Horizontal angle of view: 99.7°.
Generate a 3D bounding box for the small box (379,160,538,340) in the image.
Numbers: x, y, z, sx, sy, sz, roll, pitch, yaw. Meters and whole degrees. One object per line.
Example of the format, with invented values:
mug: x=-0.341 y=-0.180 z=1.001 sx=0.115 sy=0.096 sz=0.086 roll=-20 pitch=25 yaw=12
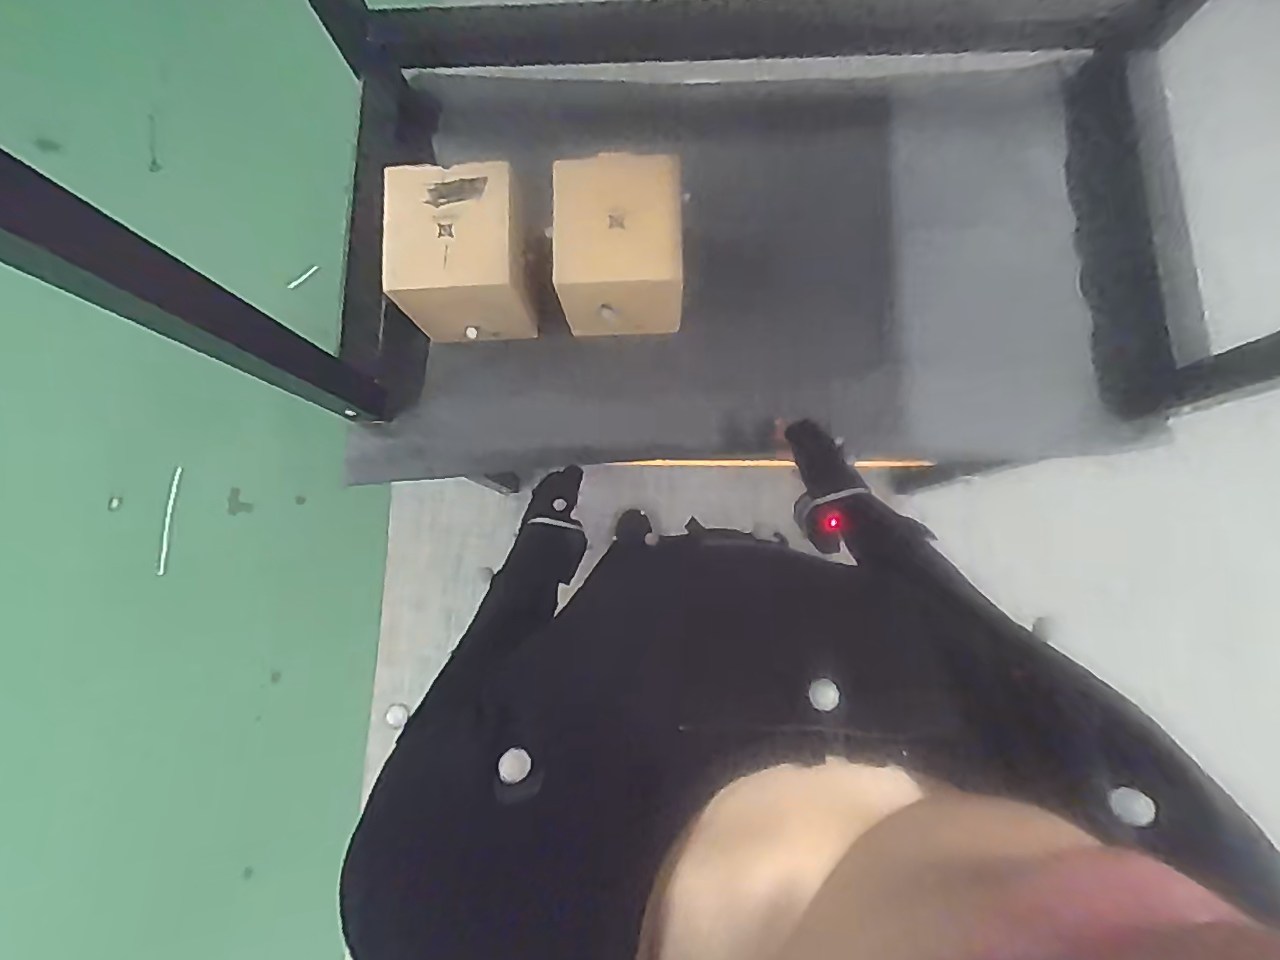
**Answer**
small box: x=-0.246 y=-0.317 z=0.770 sx=0.168 sy=0.176 sz=0.179 roll=-2 pitch=81 yaw=2
